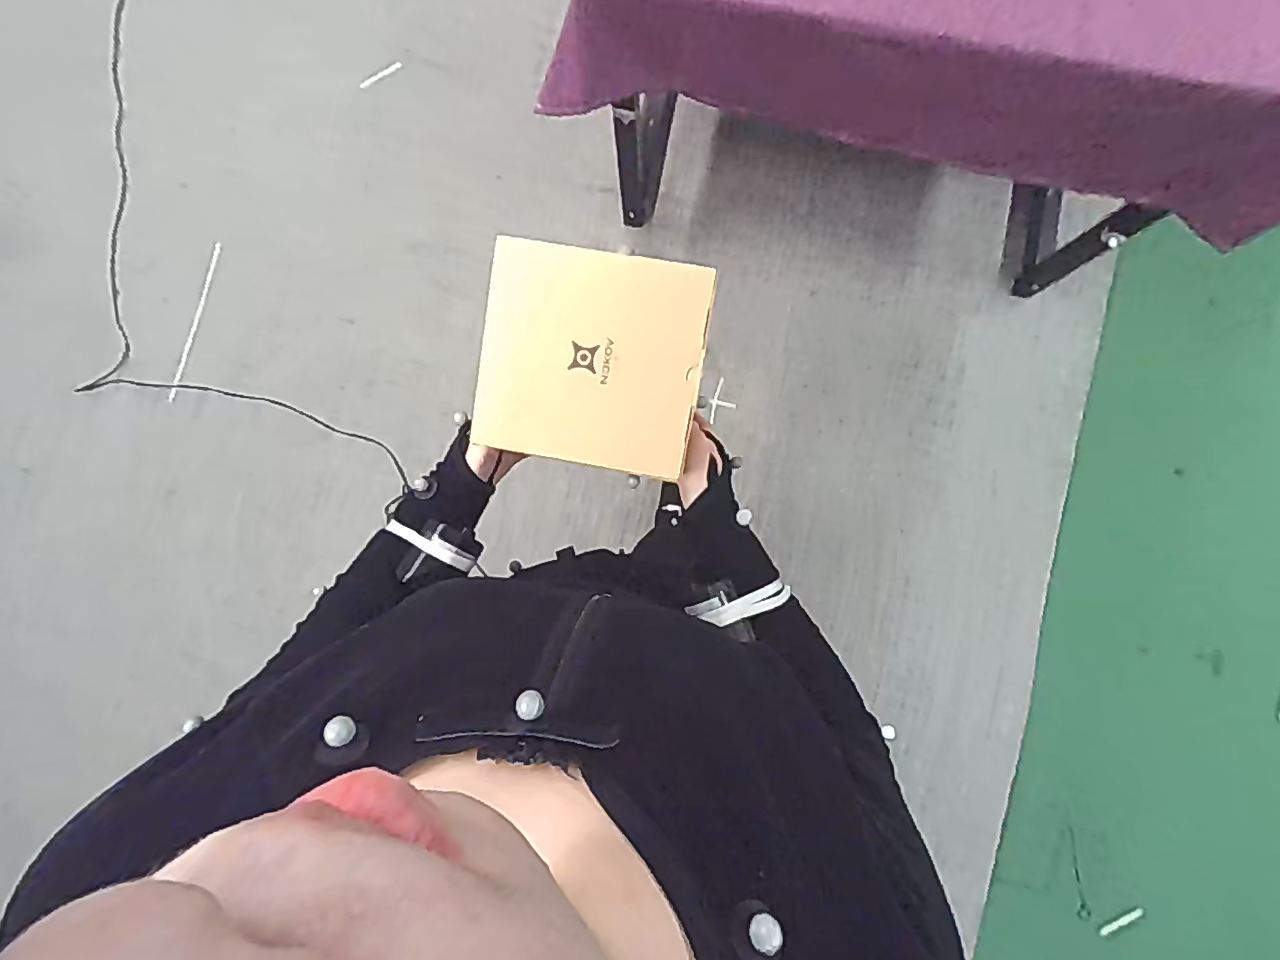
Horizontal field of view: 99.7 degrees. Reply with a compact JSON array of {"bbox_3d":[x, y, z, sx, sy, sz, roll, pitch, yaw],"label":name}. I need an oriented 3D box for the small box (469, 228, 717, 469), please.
[{"bbox_3d":[-0.033,-0.110,0.501,0.179,0.176,0.168,10,97,4],"label":"small box"}]
